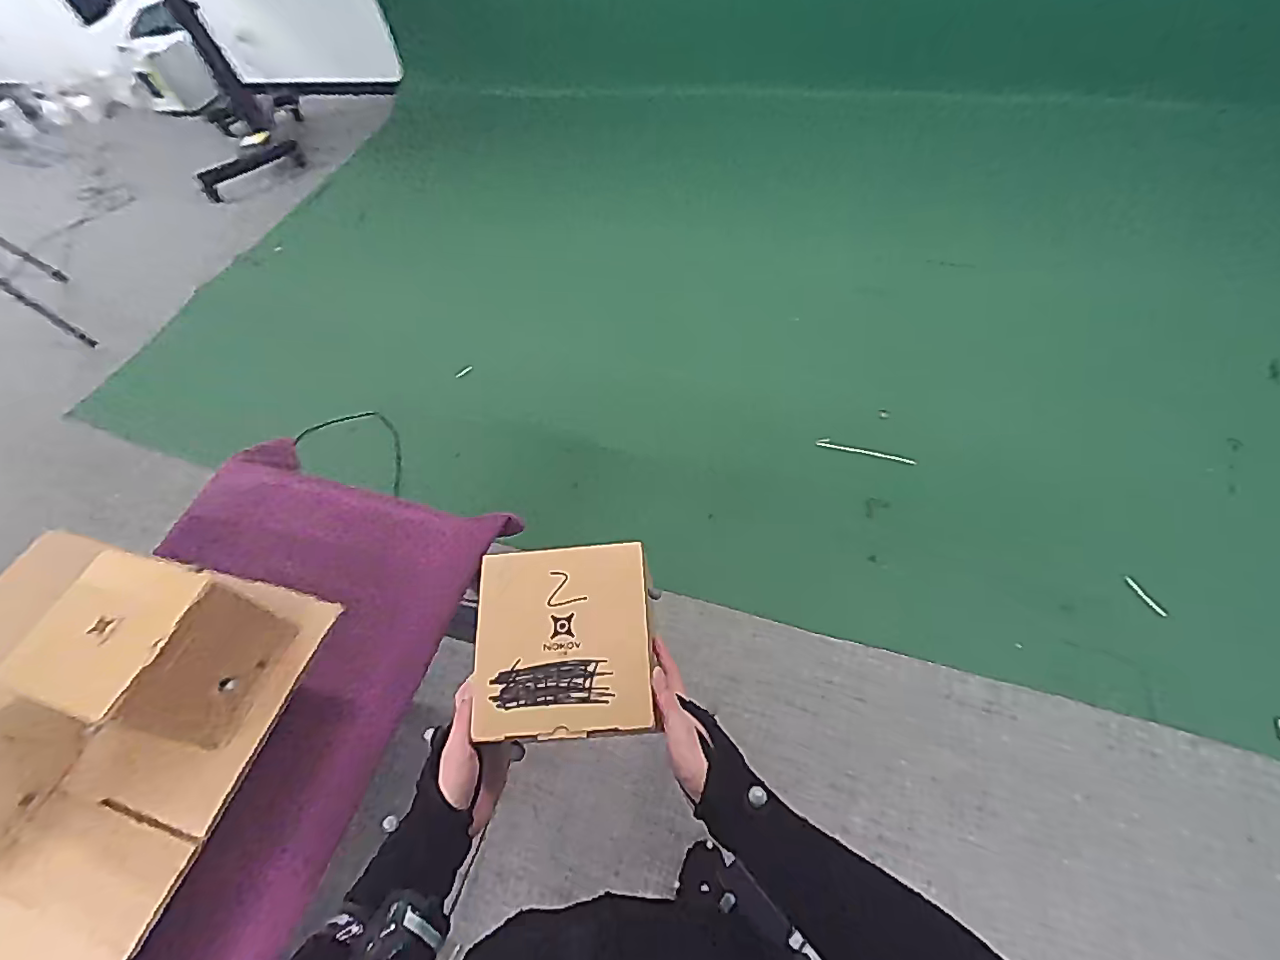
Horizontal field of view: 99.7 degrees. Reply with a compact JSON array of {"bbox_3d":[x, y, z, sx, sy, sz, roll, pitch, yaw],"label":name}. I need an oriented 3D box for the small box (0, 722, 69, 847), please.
[{"bbox_3d":[-0.823,0.351,0.599,0.179,0.176,0.168,9,56,14],"label":"small box"}]

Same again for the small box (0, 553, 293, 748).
[{"bbox_3d":[-0.589,0.214,0.668,0.179,0.176,0.168,10,57,13],"label":"small box"}]
